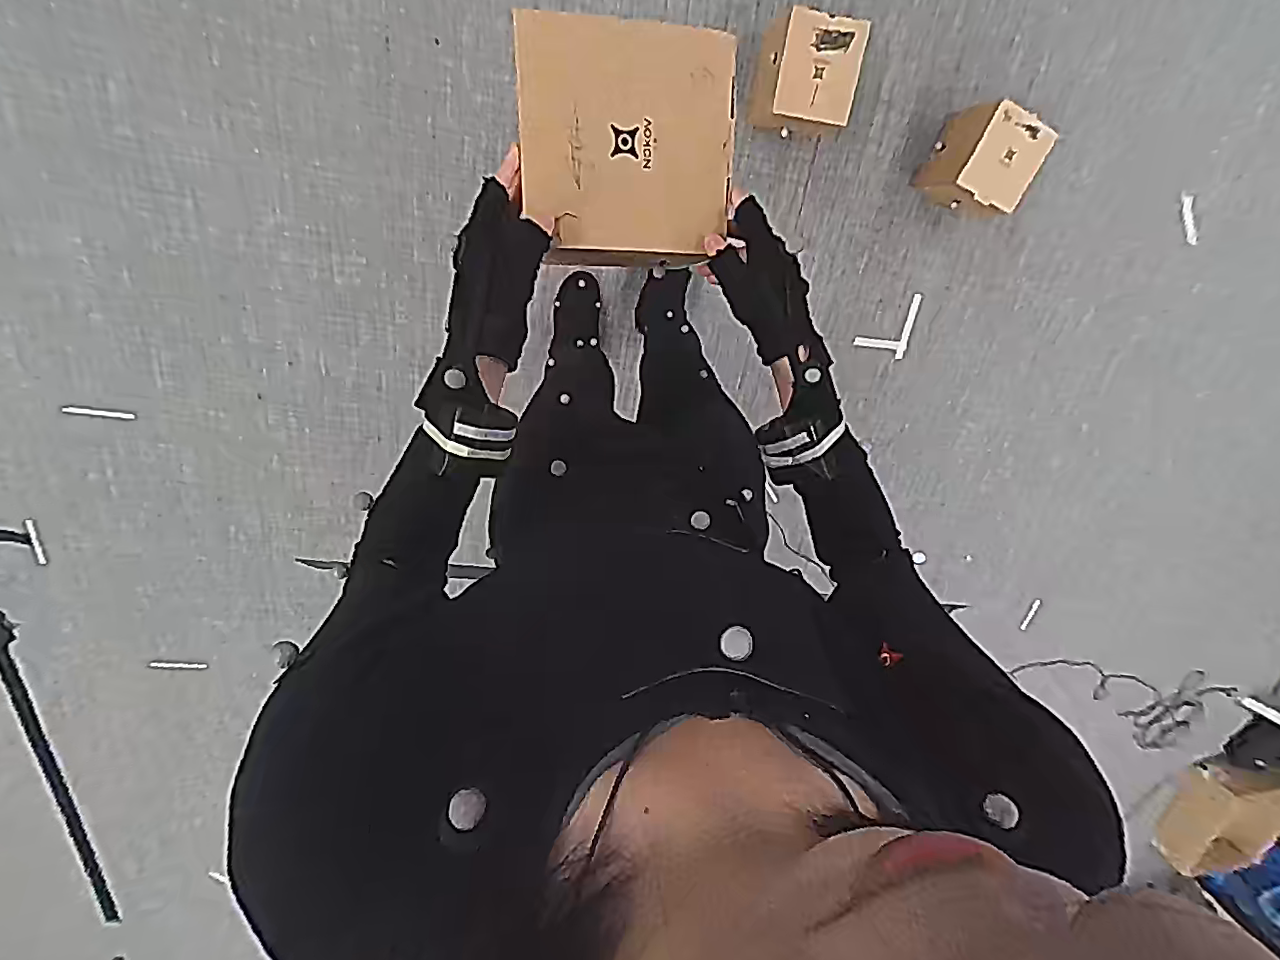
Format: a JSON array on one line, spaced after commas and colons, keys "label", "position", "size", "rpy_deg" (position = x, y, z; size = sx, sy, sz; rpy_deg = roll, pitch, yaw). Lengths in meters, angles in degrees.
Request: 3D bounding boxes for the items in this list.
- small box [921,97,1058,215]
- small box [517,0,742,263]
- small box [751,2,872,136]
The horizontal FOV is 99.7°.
[{"label": "small box", "position": [0.786, -0.732, 1.243], "size": [0.168, 0.176, 0.179], "rpy_deg": [19, 112, -16]}, {"label": "small box", "position": [-0.020, -0.300, 0.503], "size": [0.179, 0.176, 0.168], "rpy_deg": [-3, 106, -9]}, {"label": "small box", "position": [0.344, -0.842, 1.127], "size": [0.168, 0.176, 0.179], "rpy_deg": [4, 116, -10]}]
